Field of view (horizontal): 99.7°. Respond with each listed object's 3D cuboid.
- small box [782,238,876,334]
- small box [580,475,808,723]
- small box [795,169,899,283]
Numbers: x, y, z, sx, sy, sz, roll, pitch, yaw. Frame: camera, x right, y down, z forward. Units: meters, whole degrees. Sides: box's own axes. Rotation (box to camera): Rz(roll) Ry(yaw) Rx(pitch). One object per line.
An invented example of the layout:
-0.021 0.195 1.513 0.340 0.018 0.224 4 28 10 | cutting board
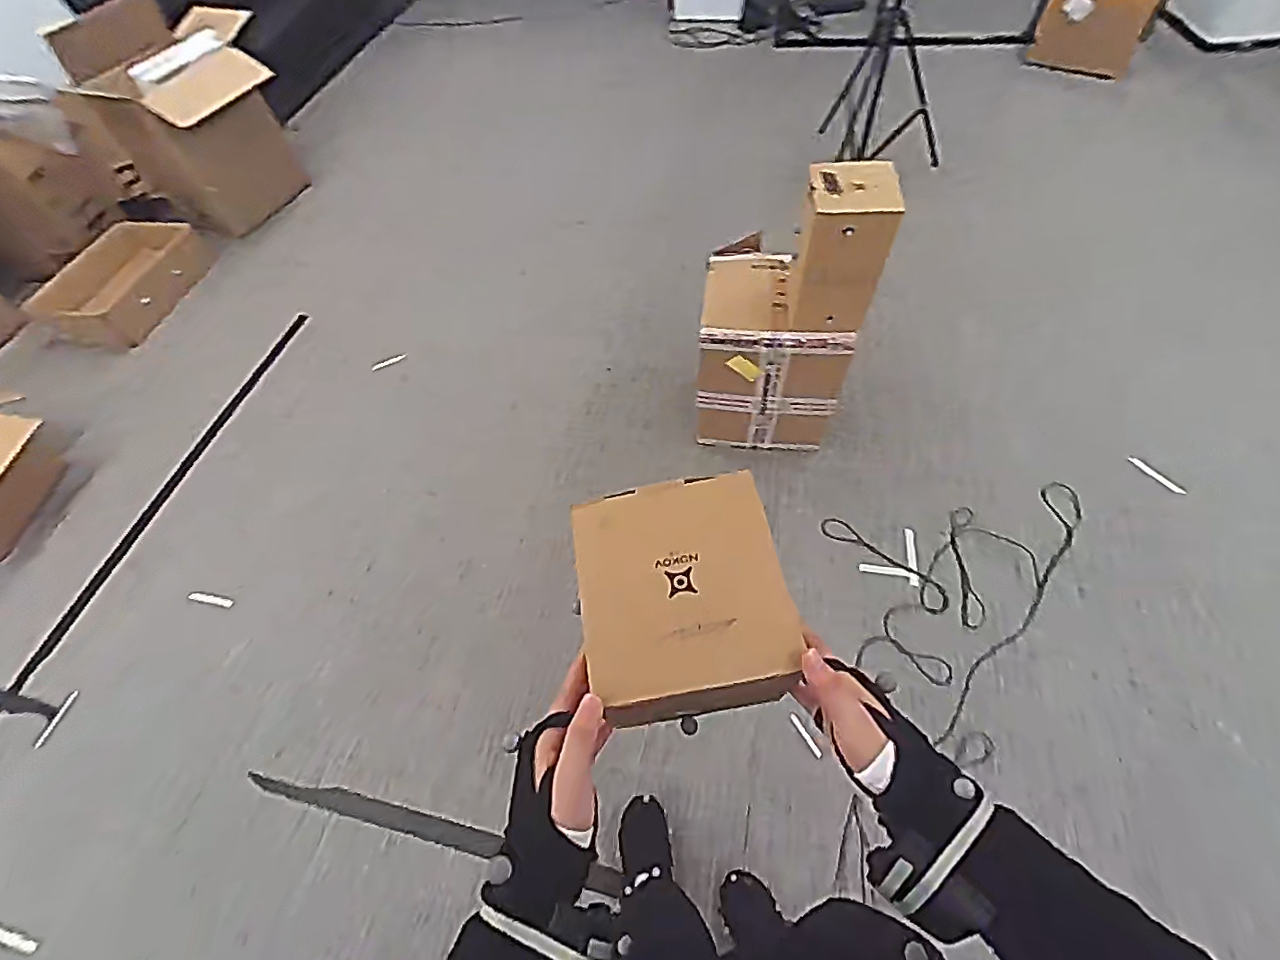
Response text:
0.457 -0.476 1.334 0.179 0.176 0.168 1 61 5 | small box
0.041 0.120 0.515 0.168 0.176 0.179 -9 61 0 | small box
0.441 -0.551 1.187 0.179 0.176 0.168 1 62 6 | small box
